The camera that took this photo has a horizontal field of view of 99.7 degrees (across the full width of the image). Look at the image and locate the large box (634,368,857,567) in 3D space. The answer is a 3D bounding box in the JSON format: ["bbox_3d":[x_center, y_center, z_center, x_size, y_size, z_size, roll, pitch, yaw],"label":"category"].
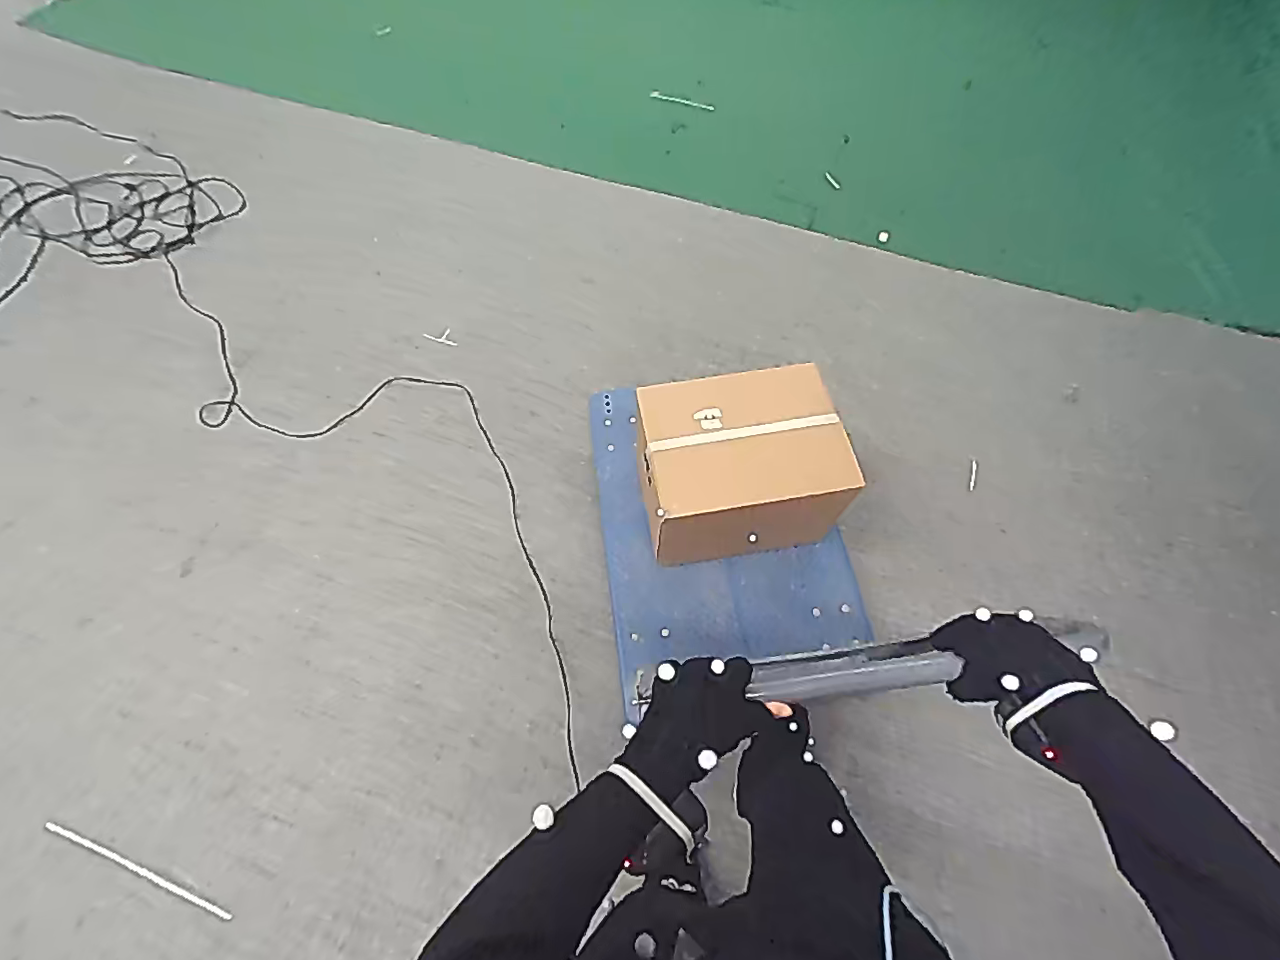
[{"bbox_3d":[0.212,-0.017,1.248,0.408,0.320,0.320,-9,63,-5],"label":"large box"}]
